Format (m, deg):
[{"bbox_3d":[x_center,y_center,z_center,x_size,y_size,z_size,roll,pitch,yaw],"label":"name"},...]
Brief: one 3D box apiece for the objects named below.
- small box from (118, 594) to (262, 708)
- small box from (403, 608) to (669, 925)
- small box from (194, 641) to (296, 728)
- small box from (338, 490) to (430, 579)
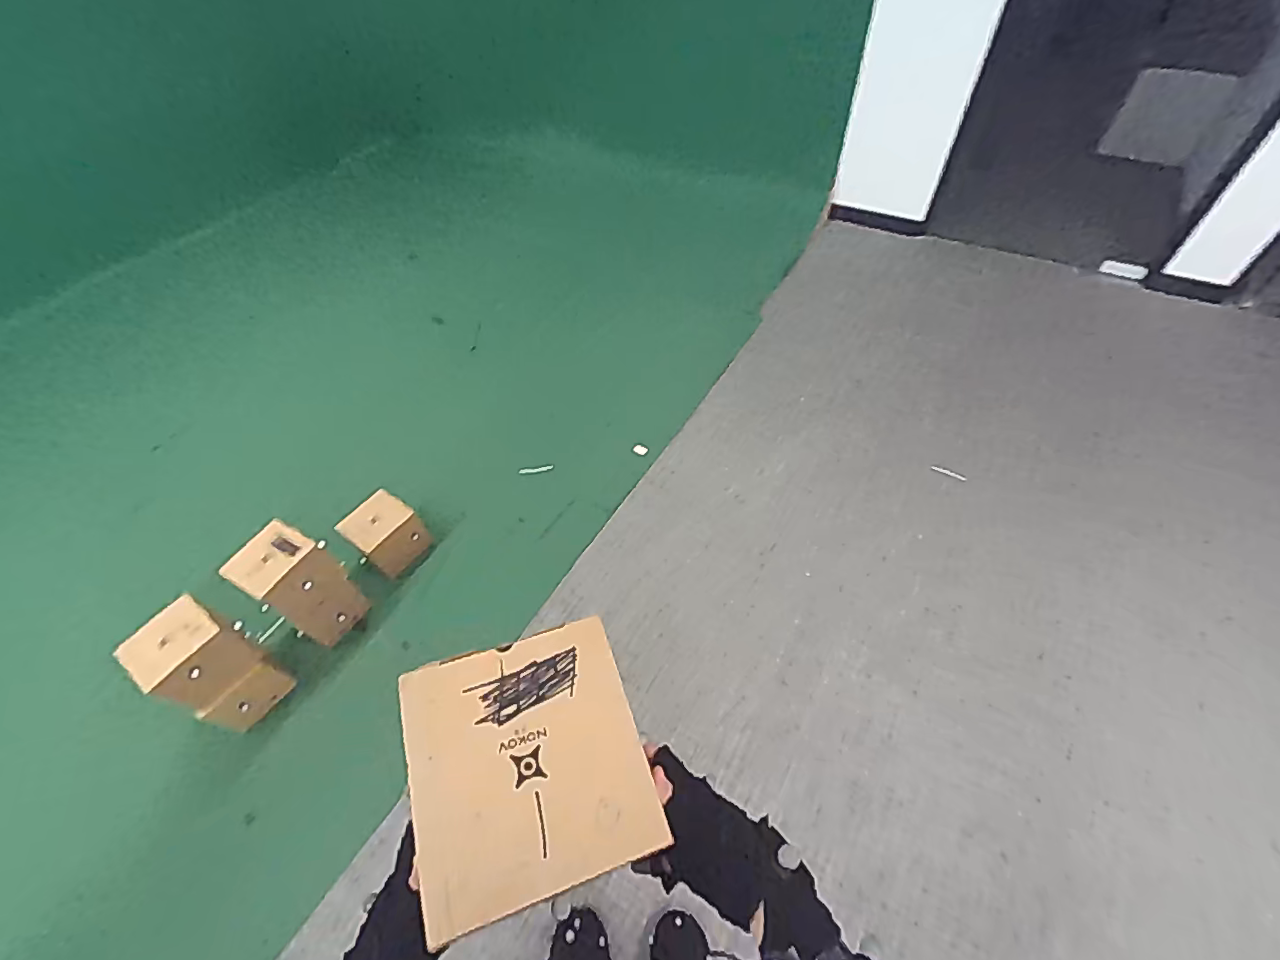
[{"bbox_3d":[-1.071,0.415,1.301,0.168,0.176,0.179,29,60,23],"label":"small box"},{"bbox_3d":[-0.089,0.241,0.461,0.168,0.176,0.179,-14,56,-15],"label":"small box"},{"bbox_3d":[-1.058,0.526,1.424,0.179,0.176,0.168,29,60,24],"label":"small box"},{"bbox_3d":[-0.782,0.171,1.679,0.168,0.176,0.179,29,60,24],"label":"small box"}]
